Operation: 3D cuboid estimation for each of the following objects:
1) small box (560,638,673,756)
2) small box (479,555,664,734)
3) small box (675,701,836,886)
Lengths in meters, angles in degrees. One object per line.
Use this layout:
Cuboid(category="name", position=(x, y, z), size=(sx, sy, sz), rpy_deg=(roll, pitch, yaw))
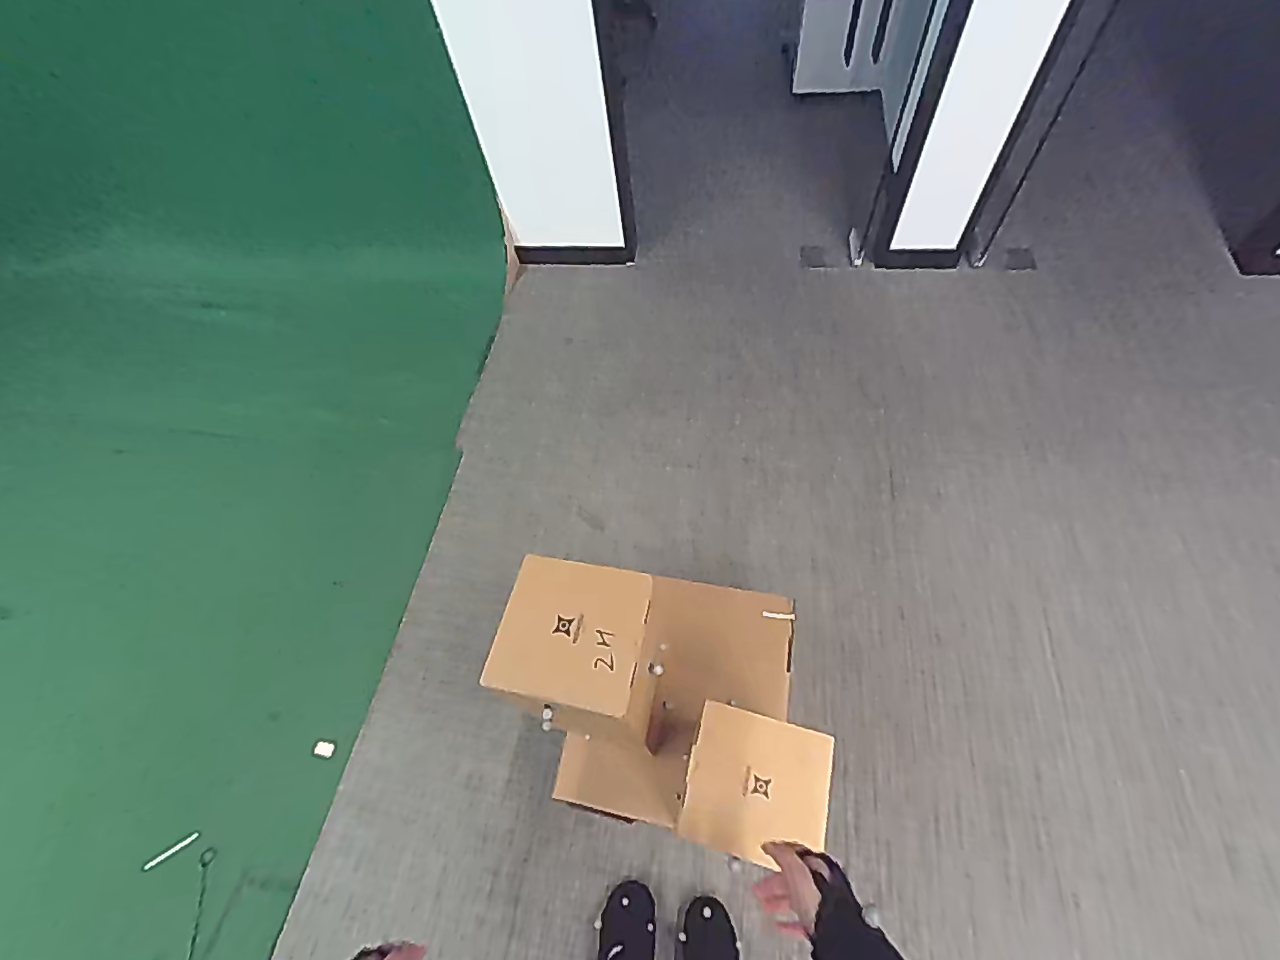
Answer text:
Cuboid(category="small box", position=(-0.037, 0.380, 0.985), size=(0.168, 0.176, 0.179), rpy_deg=(10, 59, 13))
Cuboid(category="small box", position=(-0.073, 0.217, 0.699), size=(0.179, 0.176, 0.168), rpy_deg=(8, 59, 12))
Cuboid(category="small box", position=(0.153, 0.423, 0.745), size=(0.179, 0.176, 0.168), rpy_deg=(12, 60, 12))
